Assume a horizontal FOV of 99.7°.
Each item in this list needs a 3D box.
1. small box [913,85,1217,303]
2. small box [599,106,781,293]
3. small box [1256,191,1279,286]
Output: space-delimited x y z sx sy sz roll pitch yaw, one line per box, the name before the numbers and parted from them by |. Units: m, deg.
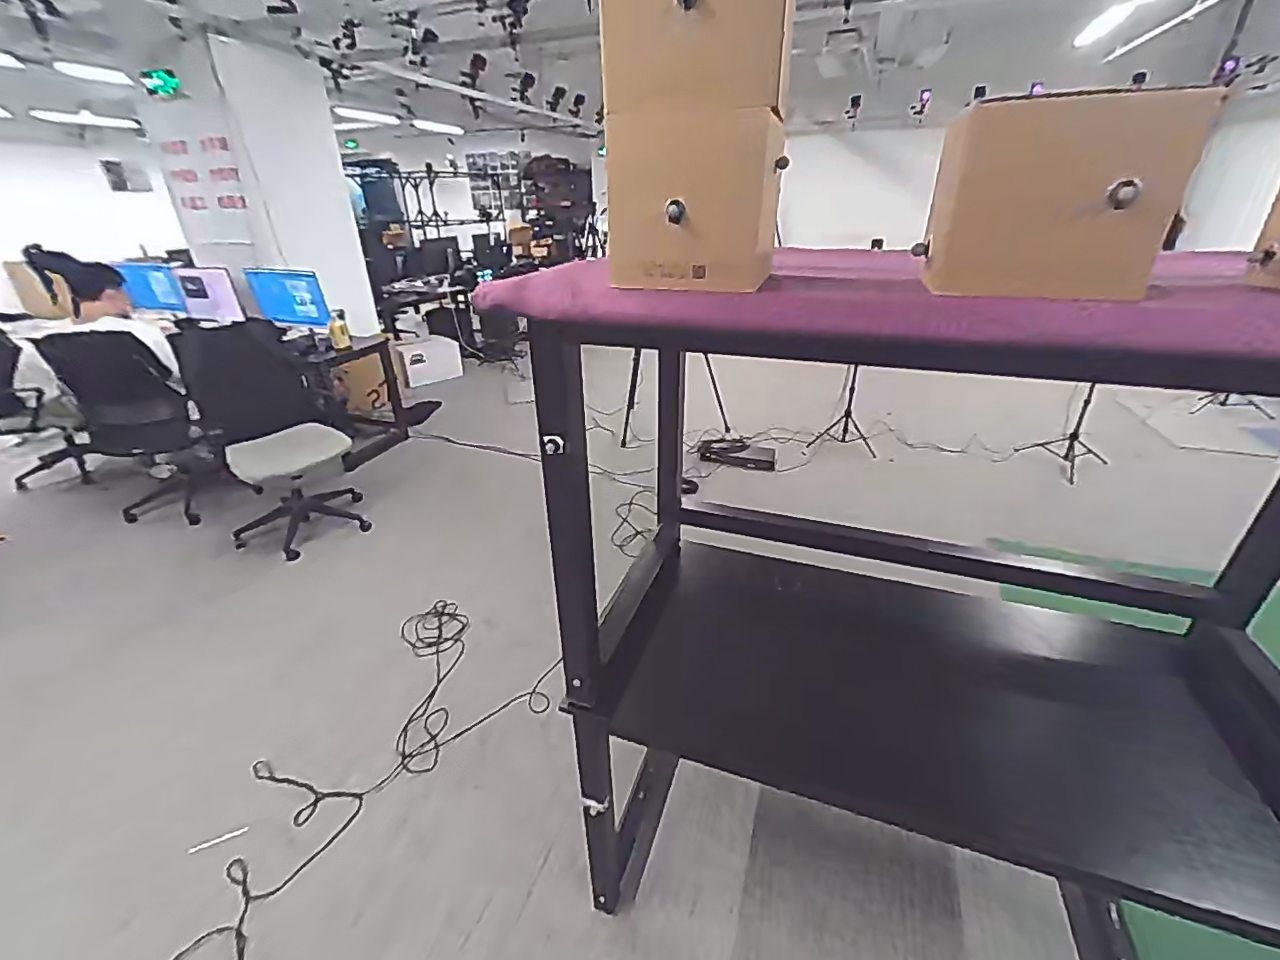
small box | 0.395 -0.278 0.547 0.179 0.176 0.168 7 28 17
small box | 0.064 -0.316 0.623 0.168 0.176 0.179 9 29 16
small box | 0.707 -0.247 0.468 0.179 0.176 0.168 9 27 19
